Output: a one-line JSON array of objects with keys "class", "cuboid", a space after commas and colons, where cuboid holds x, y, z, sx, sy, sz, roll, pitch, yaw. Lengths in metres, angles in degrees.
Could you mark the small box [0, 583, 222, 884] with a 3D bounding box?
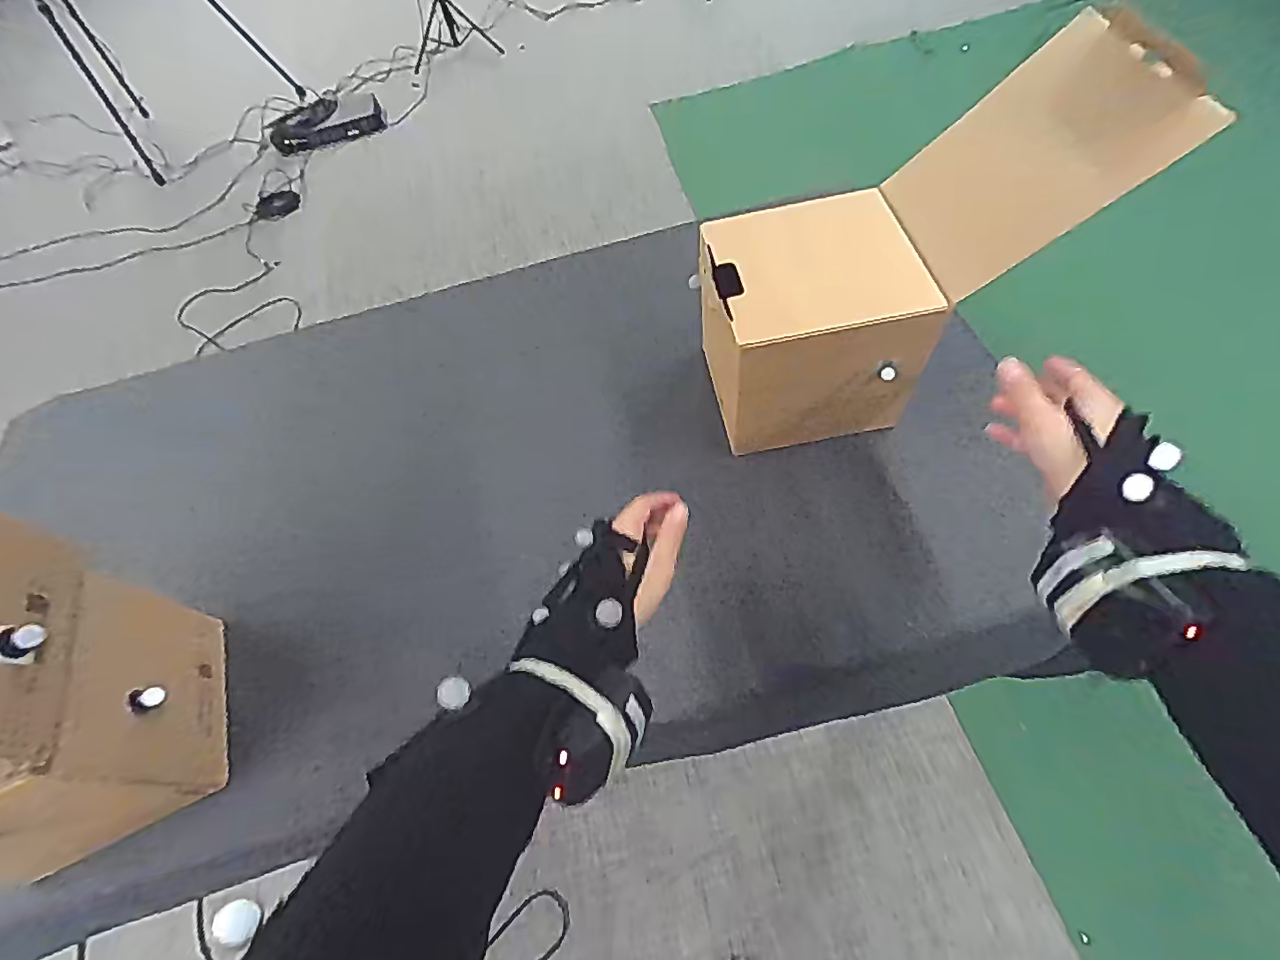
[{"class": "small box", "cuboid": [-0.480, 0.202, 0.435, 0.179, 0.176, 0.168, -25, 59, -6]}]
